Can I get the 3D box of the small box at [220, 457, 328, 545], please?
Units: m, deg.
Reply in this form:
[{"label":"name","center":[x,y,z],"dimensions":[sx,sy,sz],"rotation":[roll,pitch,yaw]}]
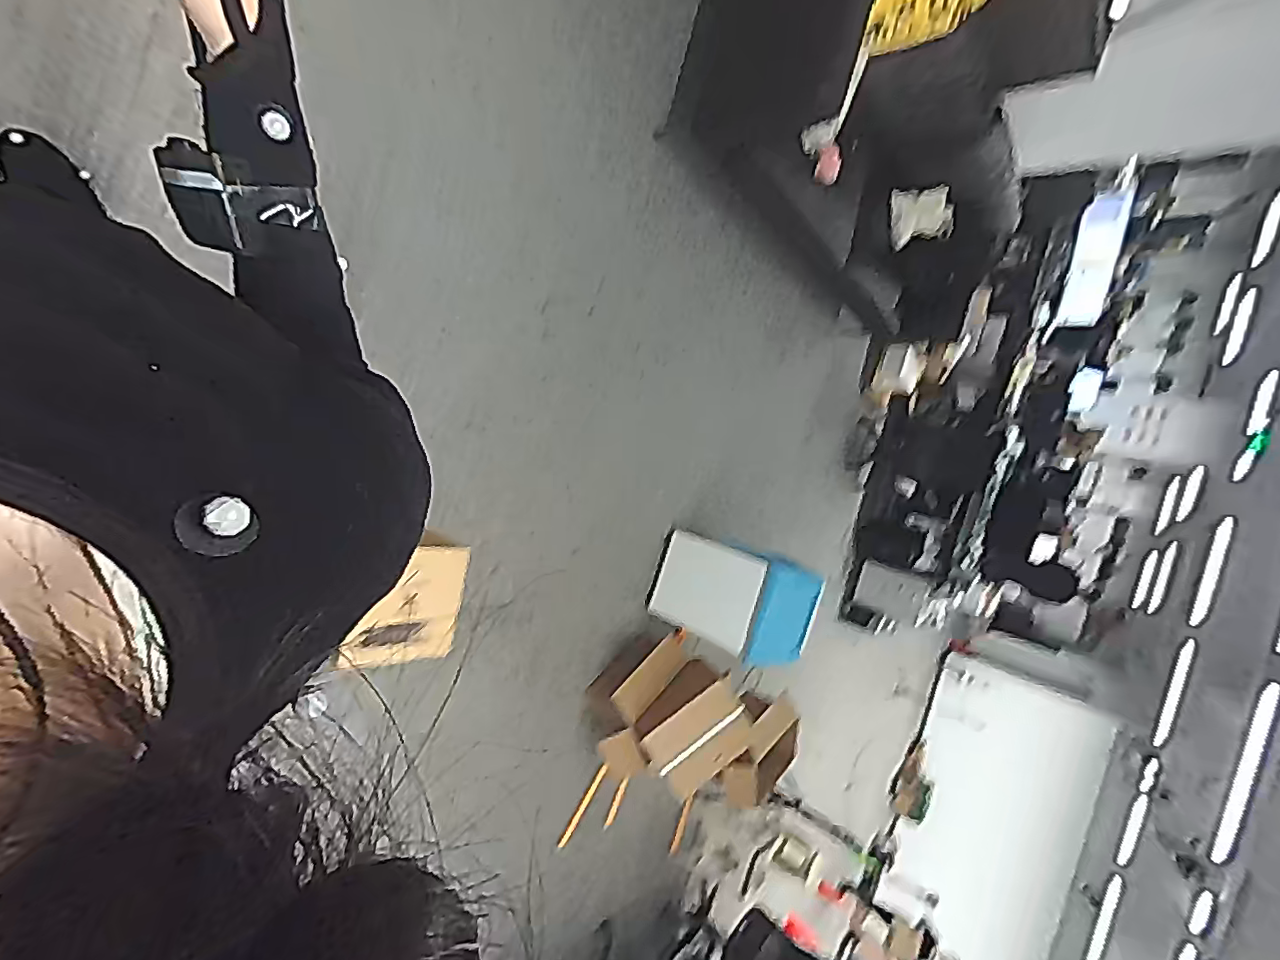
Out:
[{"label":"small box","center":[-0.862,0.052,1.279],"dimensions":[0.168,0.176,0.179],"rotation":[14,92,-50]}]
